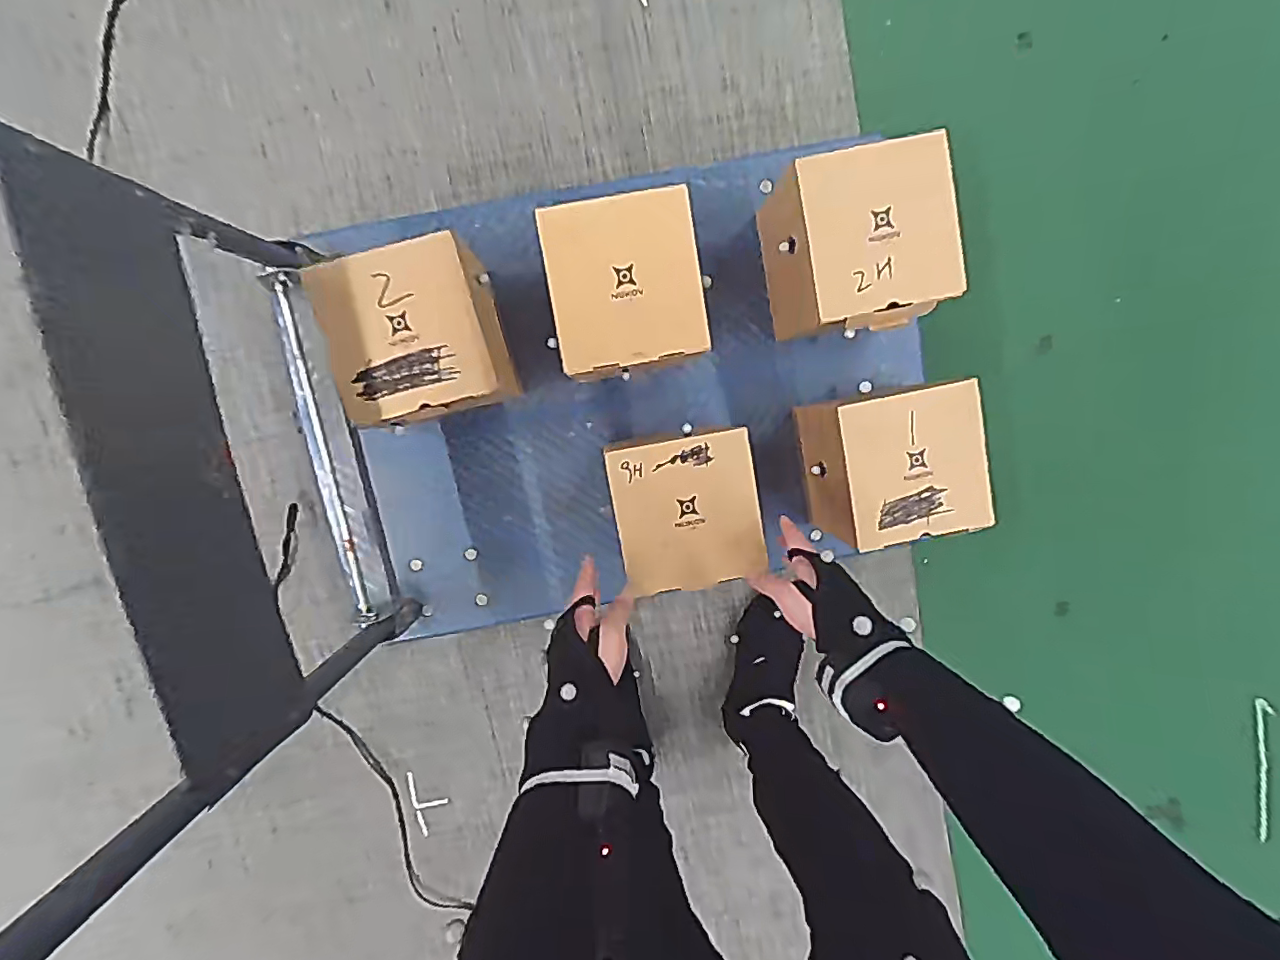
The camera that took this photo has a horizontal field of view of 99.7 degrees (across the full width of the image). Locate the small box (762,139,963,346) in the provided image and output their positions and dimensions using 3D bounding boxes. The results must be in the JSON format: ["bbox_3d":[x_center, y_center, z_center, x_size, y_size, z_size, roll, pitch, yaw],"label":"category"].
[{"bbox_3d":[0.259,-0.275,0.665,0.168,0.176,0.179,-11,98,0],"label":"small box"}]

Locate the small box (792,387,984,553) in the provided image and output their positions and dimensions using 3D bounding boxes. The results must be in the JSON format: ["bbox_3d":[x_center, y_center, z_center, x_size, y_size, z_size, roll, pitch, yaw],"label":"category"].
[{"bbox_3d":[0.316,-0.020,0.717,0.168,0.176,0.179,-12,97,-2],"label":"small box"}]

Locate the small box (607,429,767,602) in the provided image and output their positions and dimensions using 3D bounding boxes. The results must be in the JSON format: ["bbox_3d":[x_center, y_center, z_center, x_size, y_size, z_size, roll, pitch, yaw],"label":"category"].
[{"bbox_3d":[0.054,0.035,0.696,0.168,0.176,0.179,-10,98,-2],"label":"small box"}]

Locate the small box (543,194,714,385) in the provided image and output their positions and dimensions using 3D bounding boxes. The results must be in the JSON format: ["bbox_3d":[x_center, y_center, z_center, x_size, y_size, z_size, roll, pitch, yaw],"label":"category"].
[{"bbox_3d":[-0.016,-0.218,0.664,0.168,0.176,0.179,-10,99,-2],"label":"small box"}]
